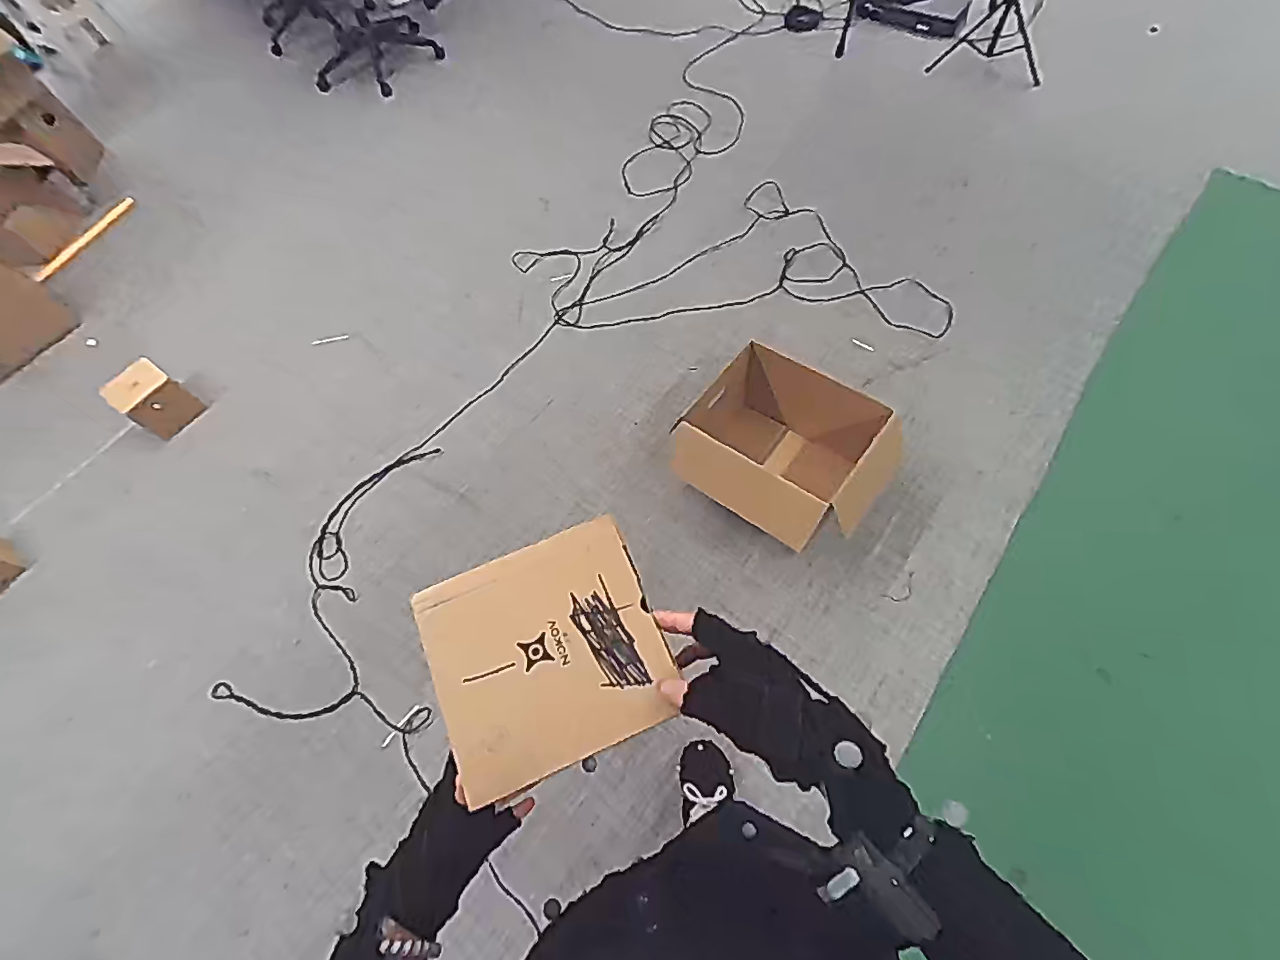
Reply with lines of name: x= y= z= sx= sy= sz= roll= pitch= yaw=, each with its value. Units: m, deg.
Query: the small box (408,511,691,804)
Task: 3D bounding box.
small box: x=-0.072 y=0.151 z=0.483 sx=0.179 sy=0.176 sz=0.168 roll=-22 pitch=71 yaw=-8

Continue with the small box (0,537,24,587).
small box: x=-2.016 y=0.245 z=1.597 sx=0.179 sy=0.176 sz=0.168 roll=31 pitch=71 yaw=19

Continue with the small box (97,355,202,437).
small box: x=-1.628 y=-0.278 z=1.813 sx=0.168 sy=0.176 sz=0.179 roll=32 pitch=72 yaw=19
